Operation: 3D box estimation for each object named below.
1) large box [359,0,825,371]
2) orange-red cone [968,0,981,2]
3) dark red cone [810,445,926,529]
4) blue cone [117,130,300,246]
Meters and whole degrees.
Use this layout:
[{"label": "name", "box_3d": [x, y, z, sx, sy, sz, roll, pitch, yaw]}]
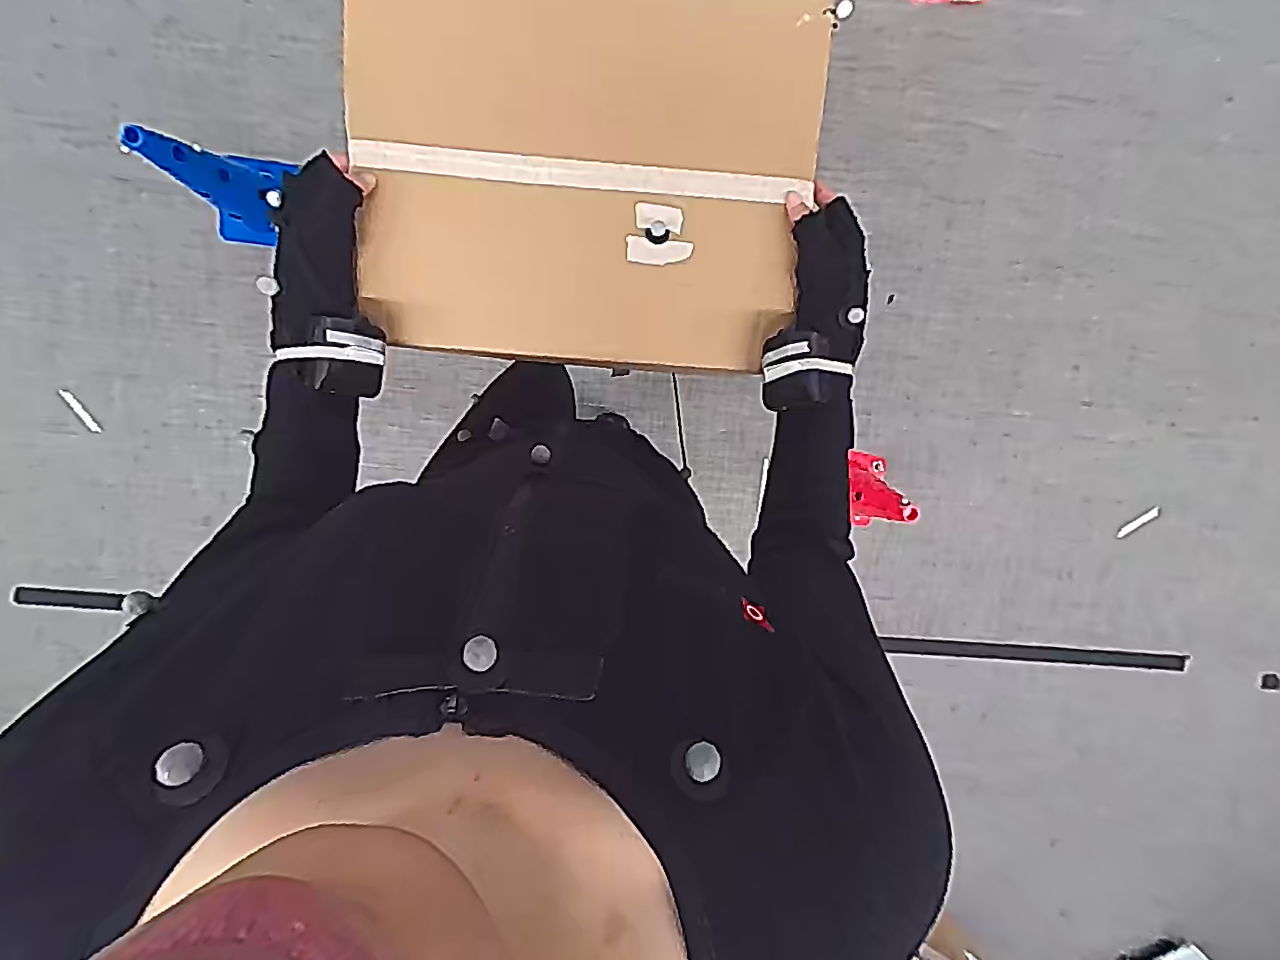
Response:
[{"label": "large box", "box_3d": [-0.053, -0.296, 0.628, 0.408, 0.320, 0.320, 3, 101, -4]}, {"label": "orange-red cone", "box_3d": [0.754, -1.229, 1.114, 0.198, 0.360, 0.199, 2, 98, -3]}, {"label": "dark red cone", "box_3d": [0.570, 0.045, 1.297, 0.201, 0.394, 0.202, 11, 99, -2]}, {"label": "blue cone", "box_3d": [-0.940, -0.659, 1.182, 0.192, 0.380, 0.193, 8, 99, -2]}]
